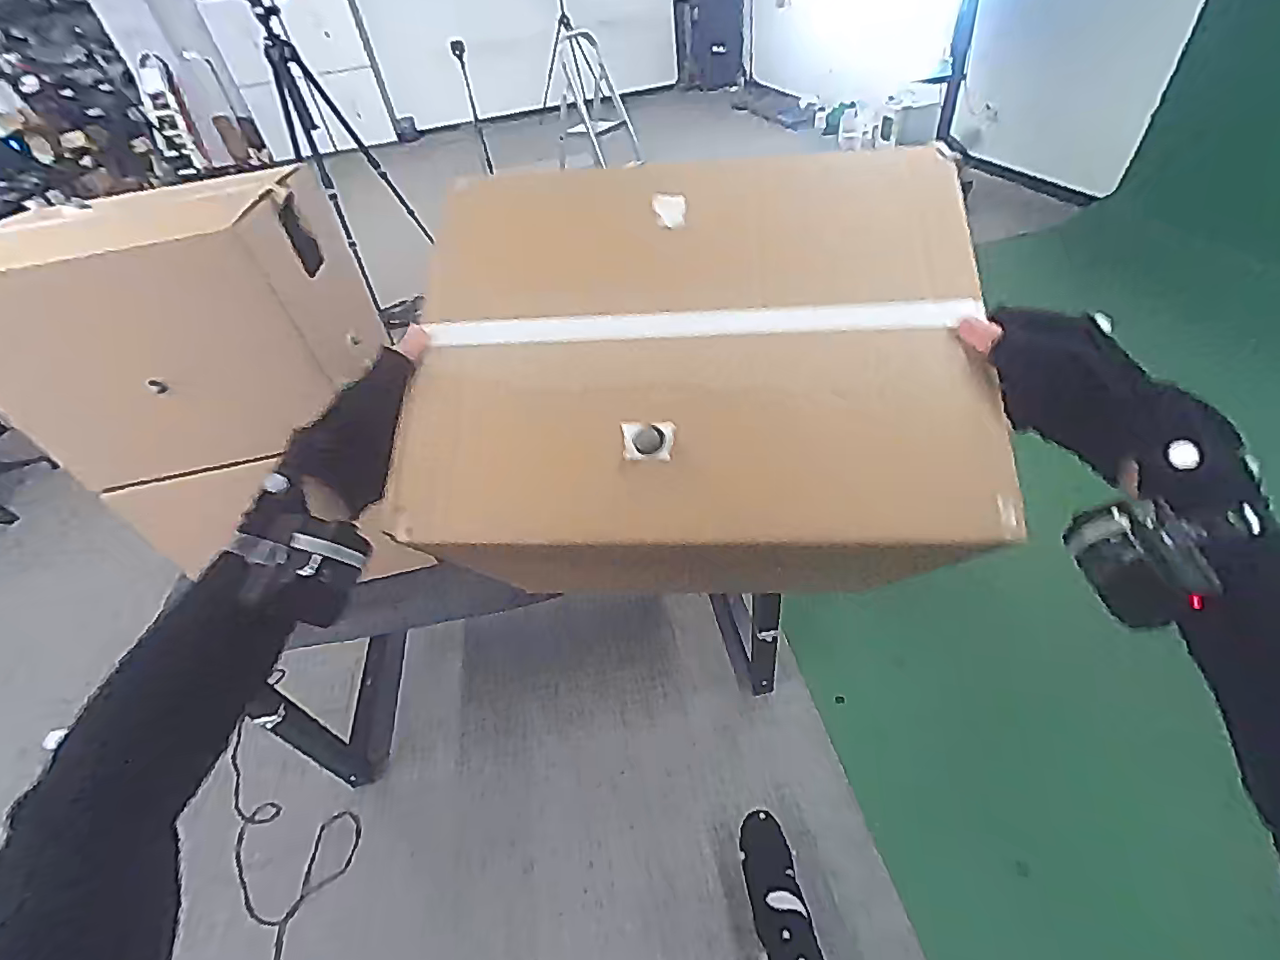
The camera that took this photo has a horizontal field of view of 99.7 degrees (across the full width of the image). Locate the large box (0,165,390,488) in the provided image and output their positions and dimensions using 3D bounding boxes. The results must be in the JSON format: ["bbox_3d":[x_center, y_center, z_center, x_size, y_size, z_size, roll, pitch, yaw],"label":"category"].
[{"bbox_3d":[-0.653,-0.234,0.817,0.408,0.320,0.320,-13,43,-3],"label":"large box"}]
